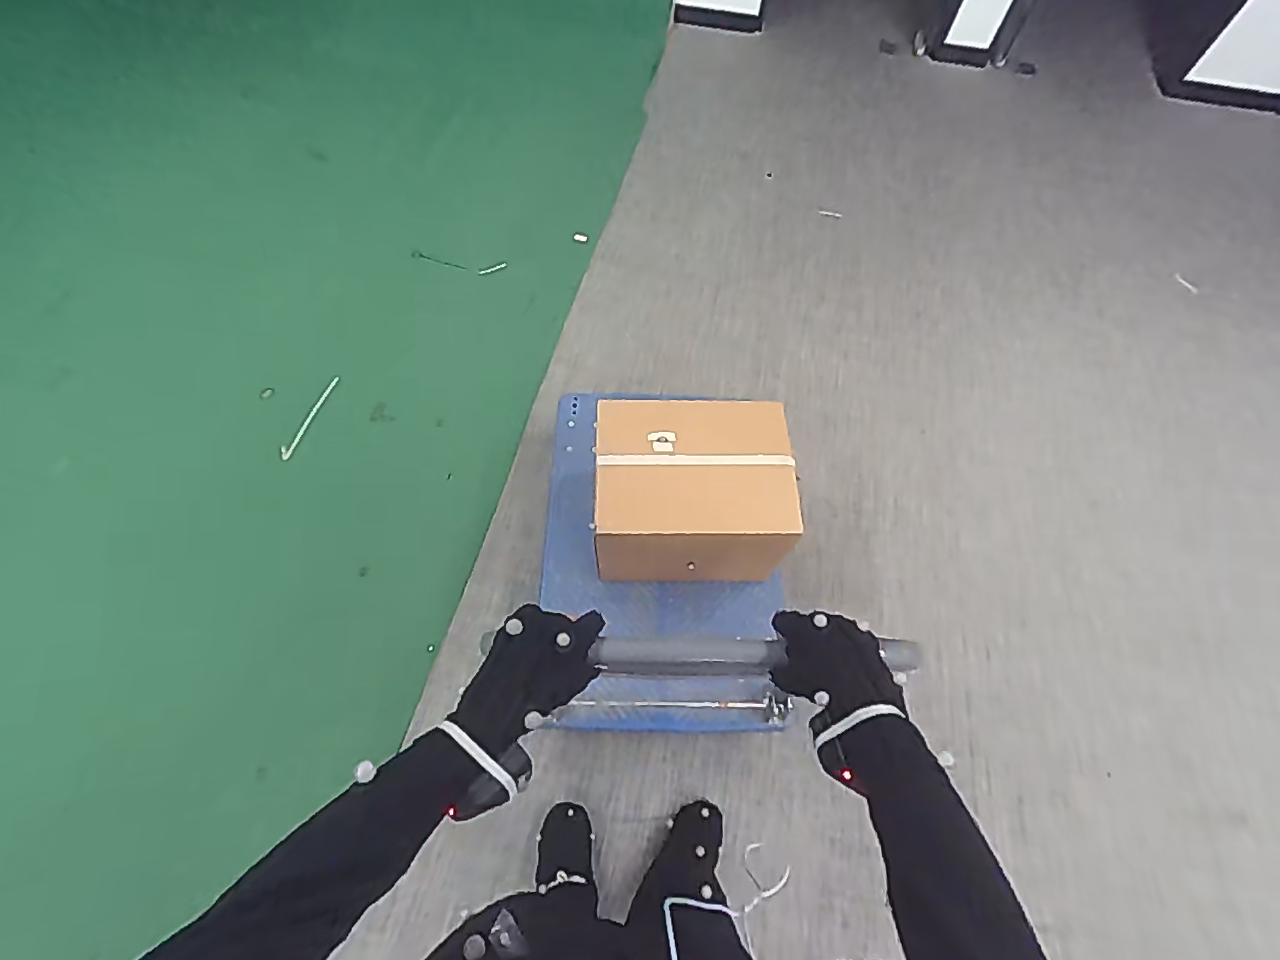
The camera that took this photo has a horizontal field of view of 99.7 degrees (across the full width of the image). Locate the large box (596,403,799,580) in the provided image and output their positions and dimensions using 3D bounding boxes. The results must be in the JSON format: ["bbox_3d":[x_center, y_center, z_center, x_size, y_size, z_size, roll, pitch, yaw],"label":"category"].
[{"bbox_3d":[0.111,0.038,1.248,0.408,0.320,0.320,-1,62,-1],"label":"large box"}]
